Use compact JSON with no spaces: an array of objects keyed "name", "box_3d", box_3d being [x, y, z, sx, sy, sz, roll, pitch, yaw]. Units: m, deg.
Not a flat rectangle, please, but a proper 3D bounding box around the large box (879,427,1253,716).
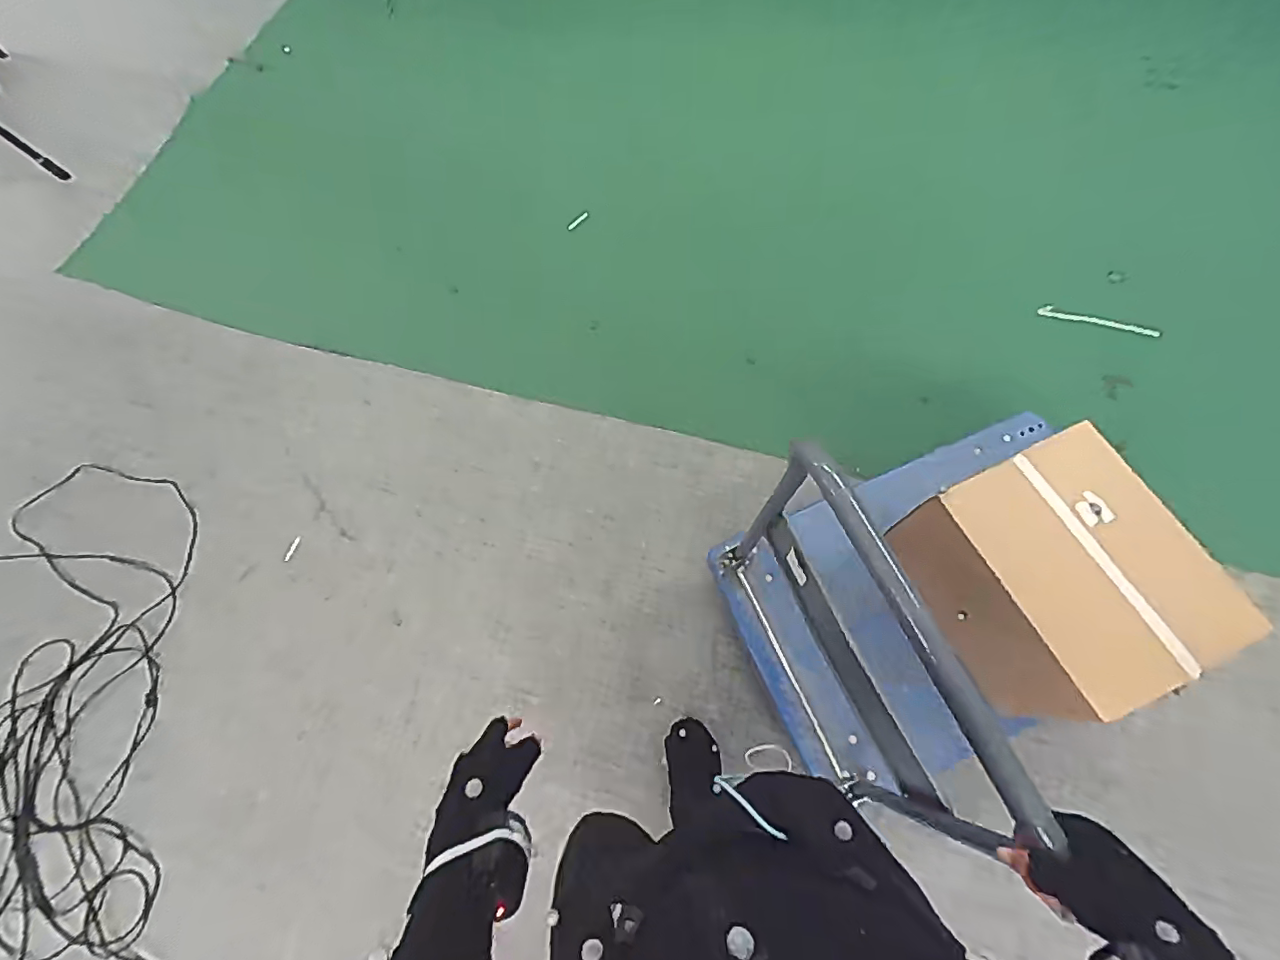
[{"name":"large box","box_3d":[0.742,0.183,1.030,0.320,0.320,0.408,-25,68,-6]}]
